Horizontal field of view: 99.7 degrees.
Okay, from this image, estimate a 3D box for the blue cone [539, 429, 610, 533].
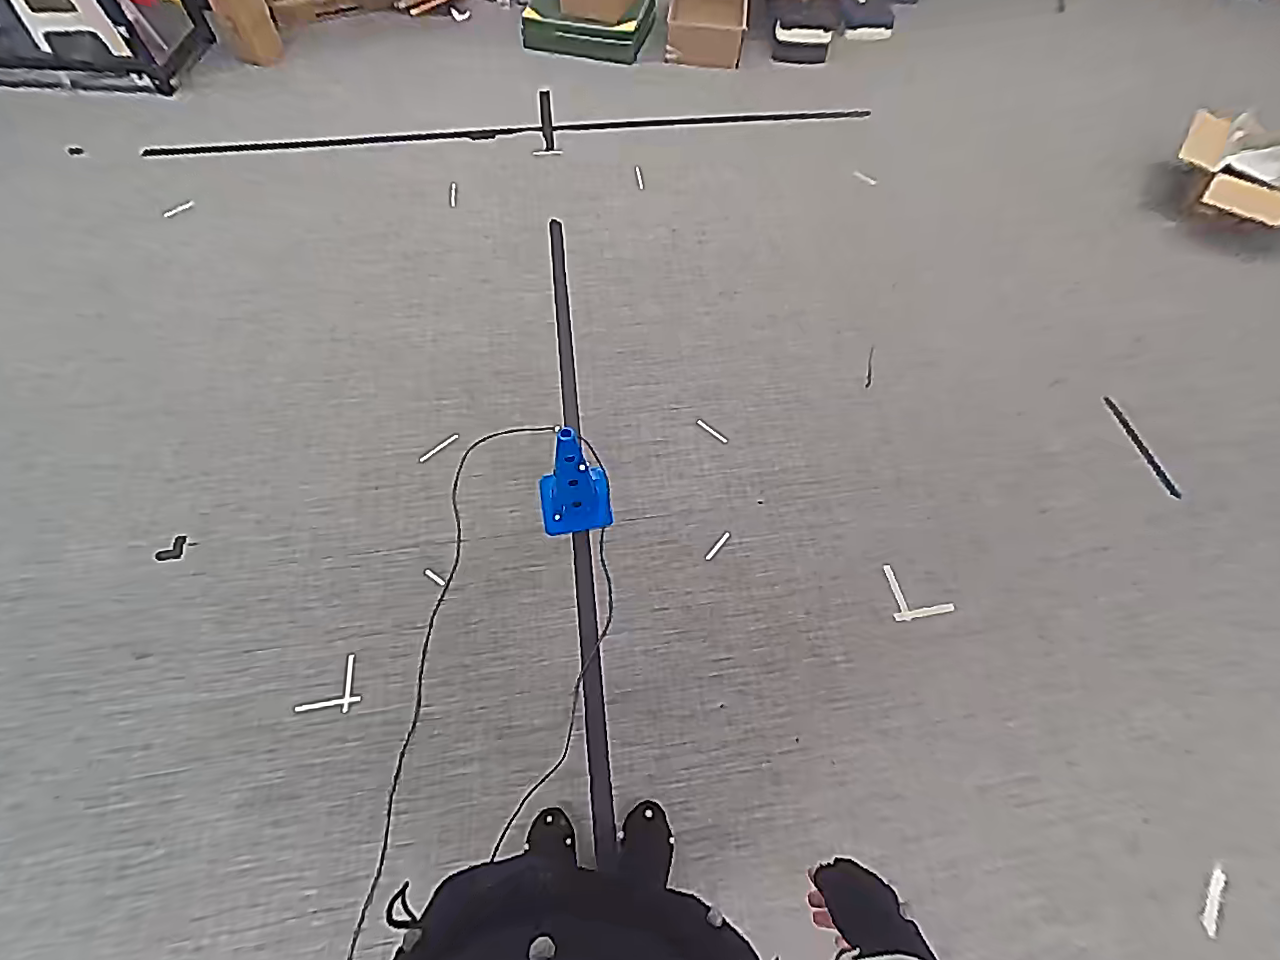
[{"bbox_3d":[-0.182,-0.022,1.436,0.192,0.380,0.193,-11,63,-8],"label":"blue cone"}]
